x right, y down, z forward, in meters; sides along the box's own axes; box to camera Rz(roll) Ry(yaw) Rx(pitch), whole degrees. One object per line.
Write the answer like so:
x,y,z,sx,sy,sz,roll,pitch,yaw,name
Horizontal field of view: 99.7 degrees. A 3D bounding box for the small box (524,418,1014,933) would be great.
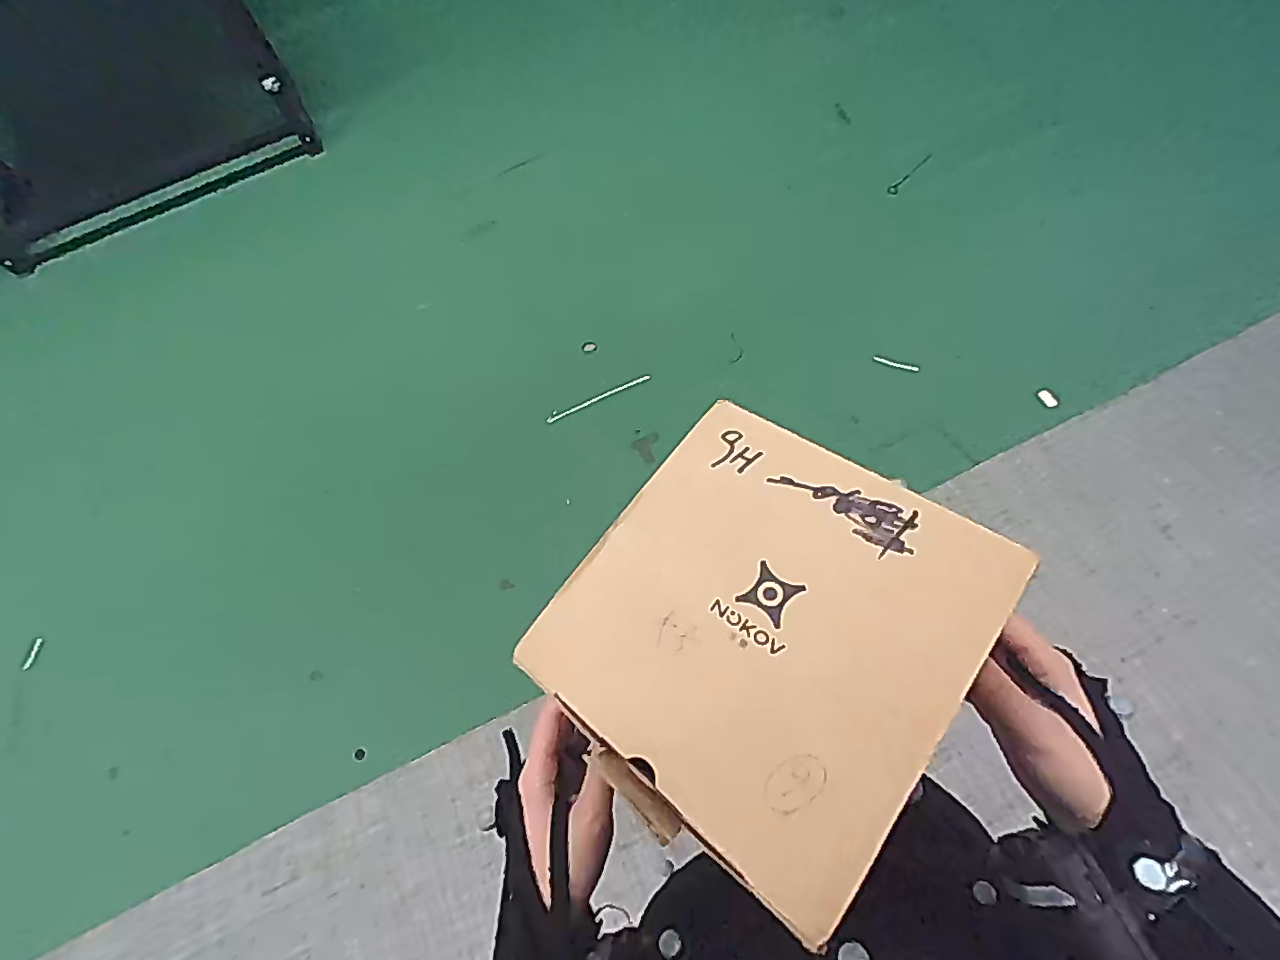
0.072,0.103,0.321,0.168,0.176,0.179,32,74,27,small box
